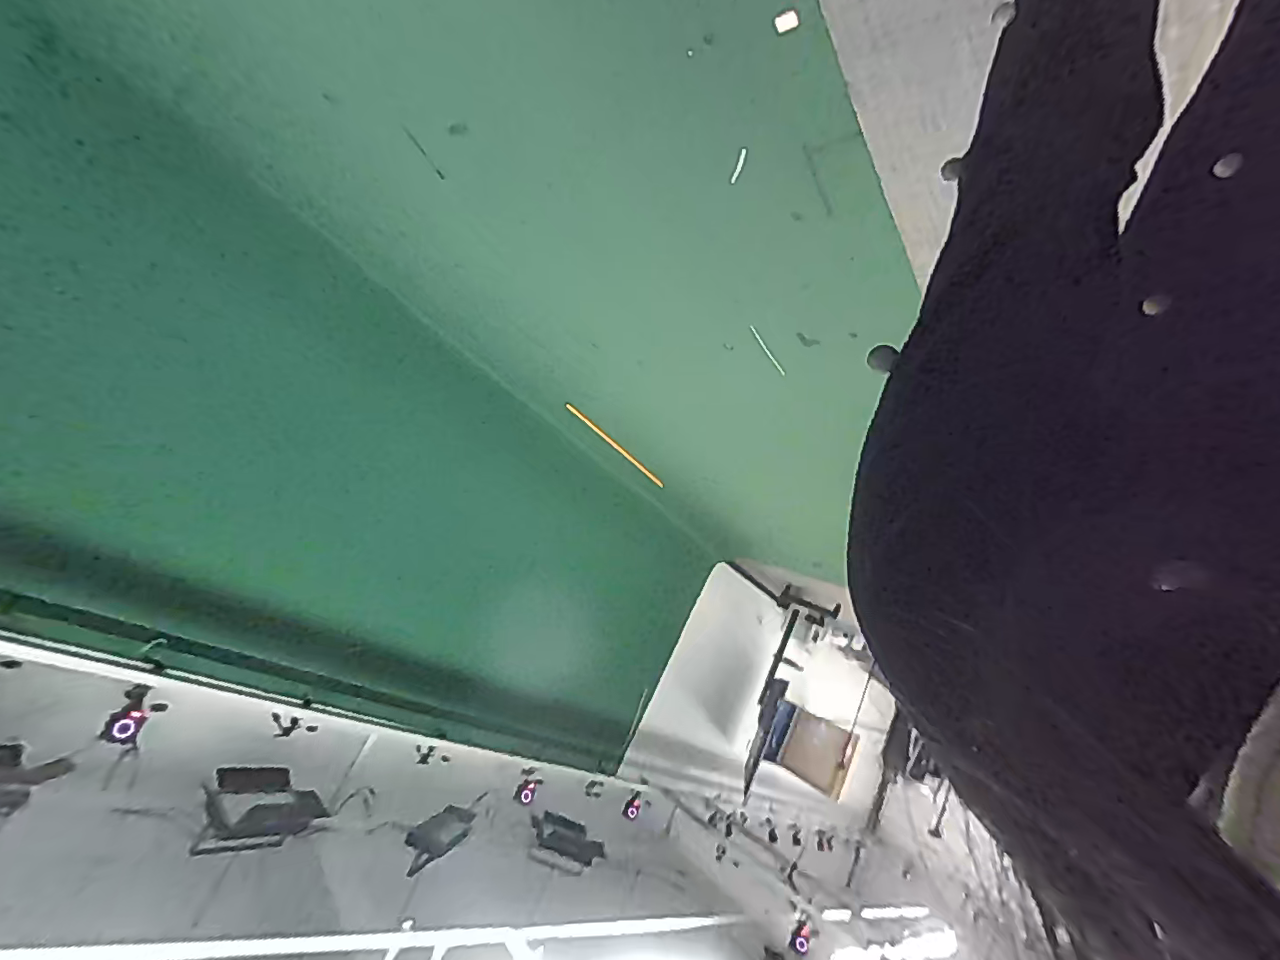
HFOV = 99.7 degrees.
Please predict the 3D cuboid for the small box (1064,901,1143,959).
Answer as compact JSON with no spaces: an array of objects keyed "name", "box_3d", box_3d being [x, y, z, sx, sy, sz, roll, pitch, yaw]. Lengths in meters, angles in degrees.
[{"name":"small box","box_3d":[1.525,1.531,1.780,0.168,0.176,0.179,14,159,40]}]
